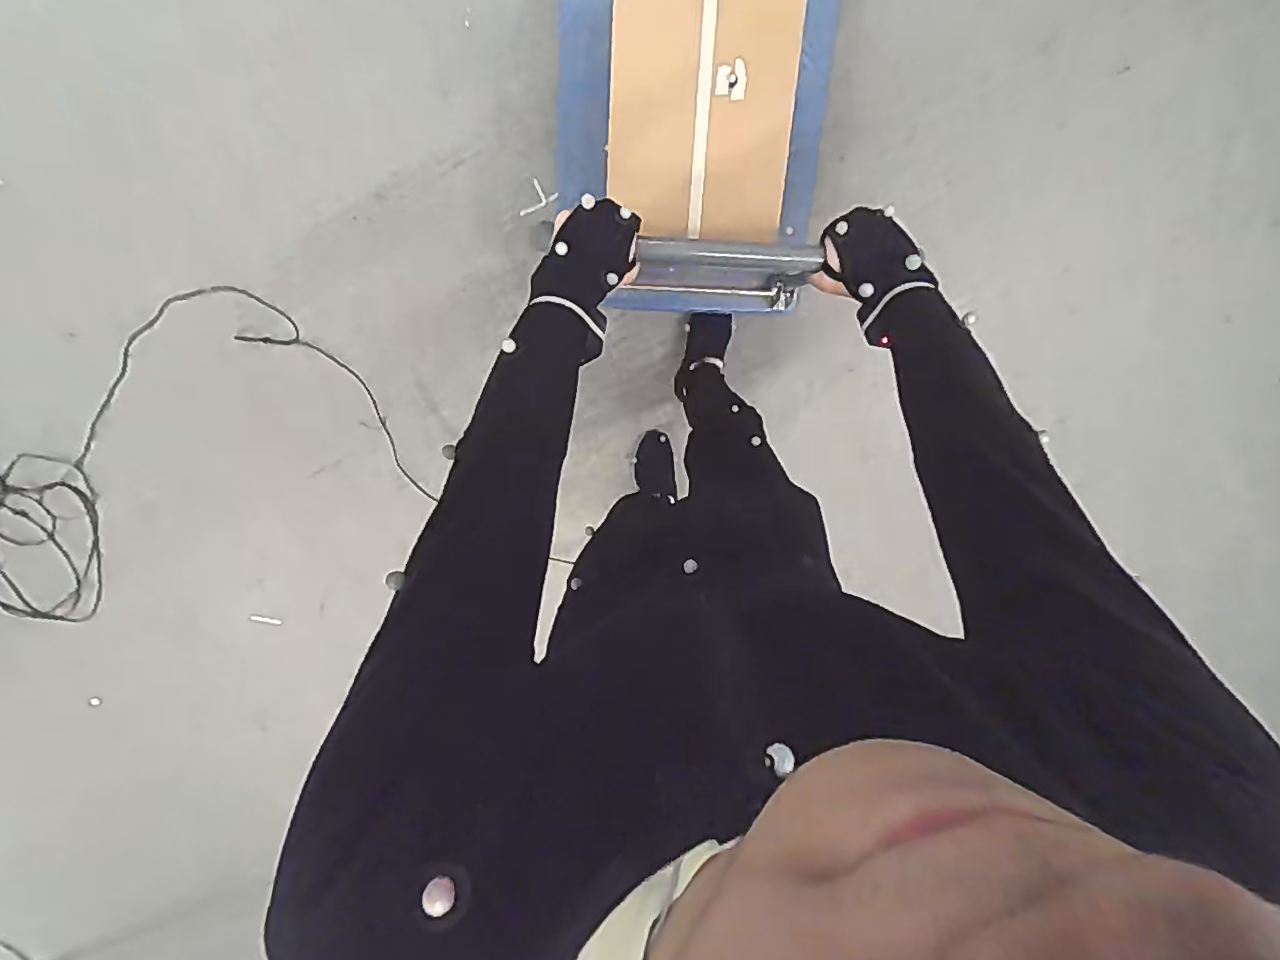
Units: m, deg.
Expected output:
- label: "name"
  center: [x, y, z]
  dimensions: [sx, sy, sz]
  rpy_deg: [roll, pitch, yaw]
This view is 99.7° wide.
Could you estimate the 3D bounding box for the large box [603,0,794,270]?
- label: "large box"
  center: [0.096, -0.652, 1.086]
  dimensions: [0.320, 0.320, 0.408]
  rpy_deg: [3, 106, -2]
